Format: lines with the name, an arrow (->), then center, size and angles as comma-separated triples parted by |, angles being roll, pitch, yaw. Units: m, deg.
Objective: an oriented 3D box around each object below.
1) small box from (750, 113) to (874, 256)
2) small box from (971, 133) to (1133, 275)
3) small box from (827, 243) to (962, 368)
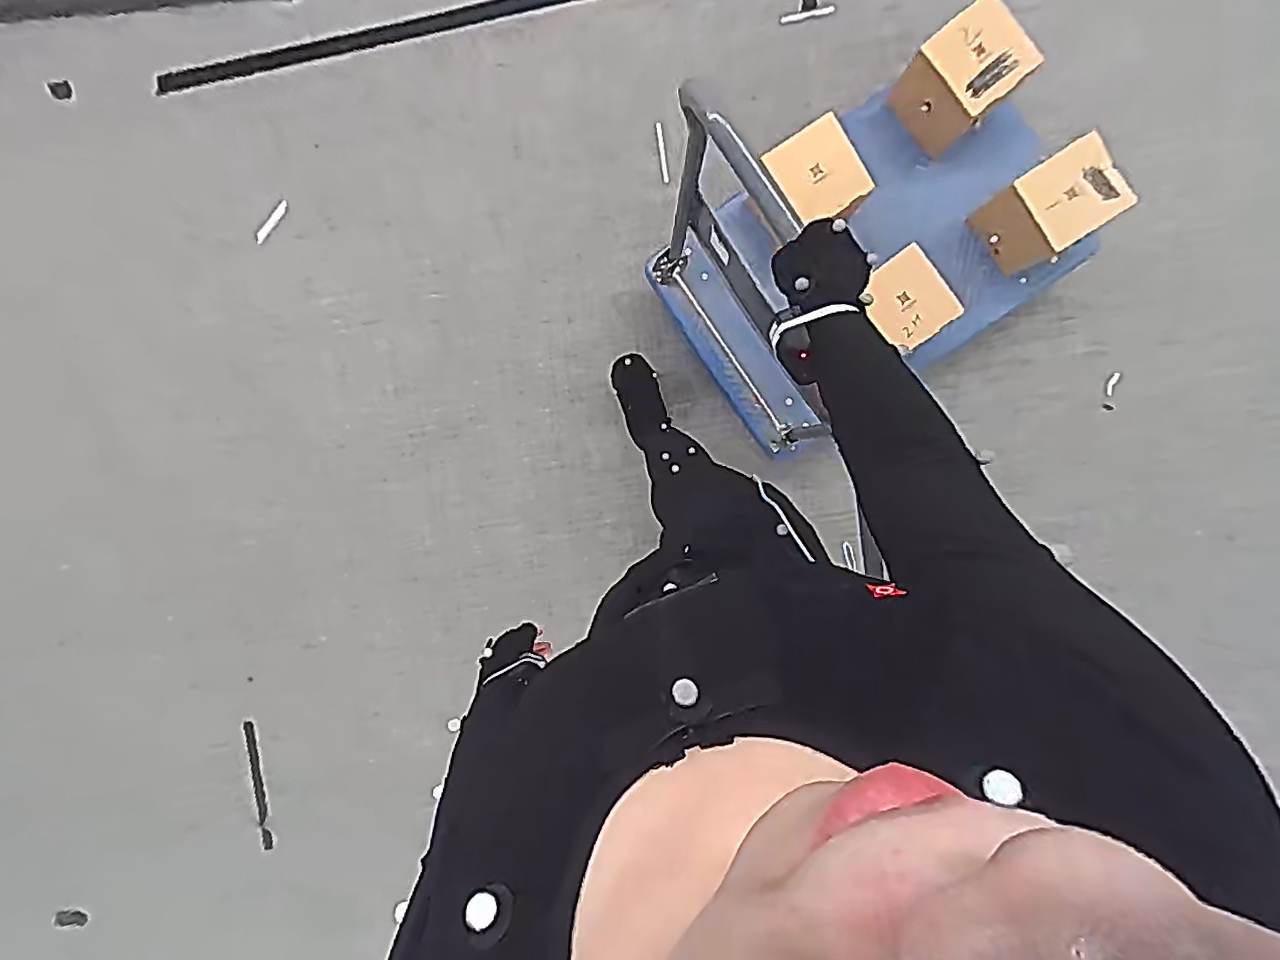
small box -> 0.354, -0.616, 1.151 | 0.168, 0.176, 0.179 | -32, 94, 4
small box -> 0.845, -0.563, 1.128 | 0.179, 0.176, 0.168 | -32, 92, 6
small box -> 0.531, -0.362, 1.159 | 0.168, 0.176, 0.179 | -36, 91, 5
